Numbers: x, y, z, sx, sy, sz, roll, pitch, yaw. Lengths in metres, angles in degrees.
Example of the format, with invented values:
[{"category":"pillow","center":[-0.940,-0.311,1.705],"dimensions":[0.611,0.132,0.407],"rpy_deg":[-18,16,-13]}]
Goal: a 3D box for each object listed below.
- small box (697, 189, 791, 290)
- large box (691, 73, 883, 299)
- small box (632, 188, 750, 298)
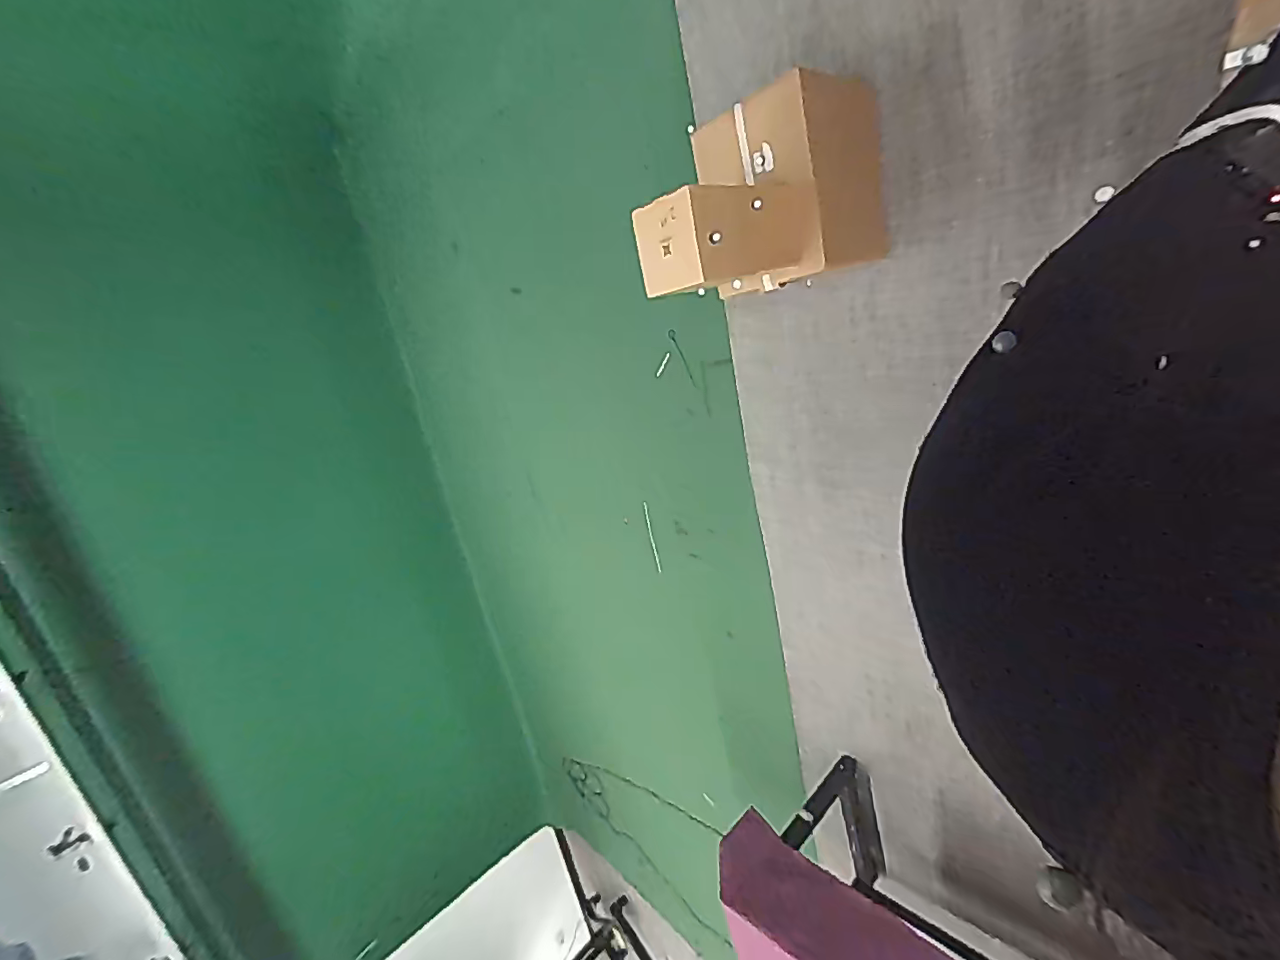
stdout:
[{"category":"small box","center":[0.225,-0.543,1.226],"dimensions":[0.168,0.176,0.179],"rpy_deg":[7,113,48]},{"category":"large box","center":[0.376,-0.705,1.361],"dimensions":[0.320,0.320,0.408],"rpy_deg":[4,111,49]},{"category":"small box","center":[0.110,-0.488,1.119],"dimensions":[0.168,0.176,0.179],"rpy_deg":[6,113,48]}]
